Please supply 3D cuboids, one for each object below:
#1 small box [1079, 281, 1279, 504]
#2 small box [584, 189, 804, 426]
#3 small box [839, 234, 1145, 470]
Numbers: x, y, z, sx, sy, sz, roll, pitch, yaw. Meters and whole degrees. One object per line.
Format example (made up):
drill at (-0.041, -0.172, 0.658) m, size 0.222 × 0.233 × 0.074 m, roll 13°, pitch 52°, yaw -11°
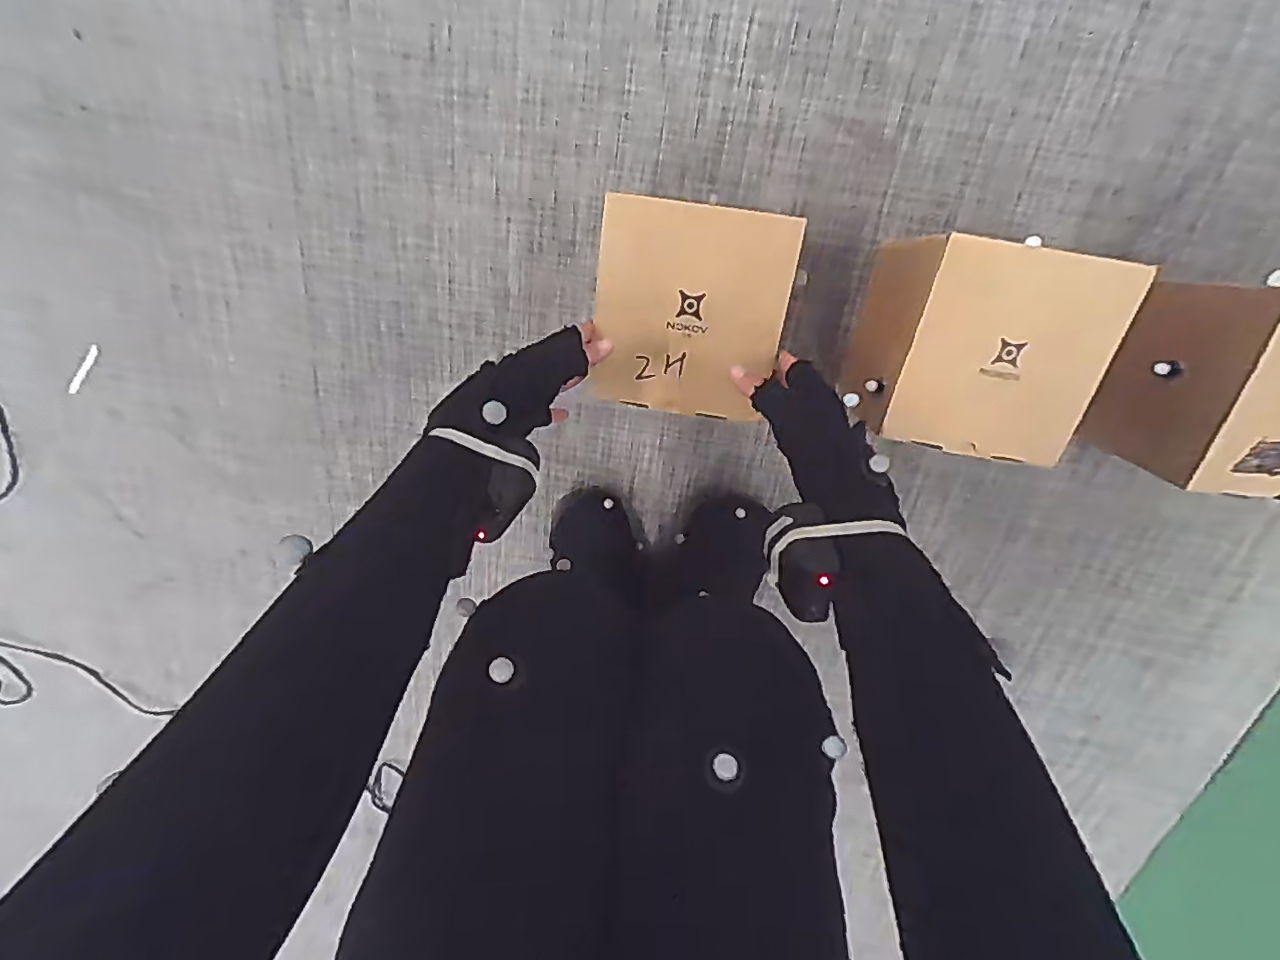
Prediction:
small box at (0.579, -0.089, 0.522) m, size 0.168 × 0.176 × 0.179 m, roll 7°, pitch 112°, yaw 3°
small box at (0.048, -0.172, 0.541) m, size 0.168 × 0.176 × 0.179 m, roll 10°, pitch 113°, yaw 3°
small box at (0.314, -0.132, 0.533) m, size 0.168 × 0.176 × 0.179 m, roll 10°, pitch 113°, yaw 2°
